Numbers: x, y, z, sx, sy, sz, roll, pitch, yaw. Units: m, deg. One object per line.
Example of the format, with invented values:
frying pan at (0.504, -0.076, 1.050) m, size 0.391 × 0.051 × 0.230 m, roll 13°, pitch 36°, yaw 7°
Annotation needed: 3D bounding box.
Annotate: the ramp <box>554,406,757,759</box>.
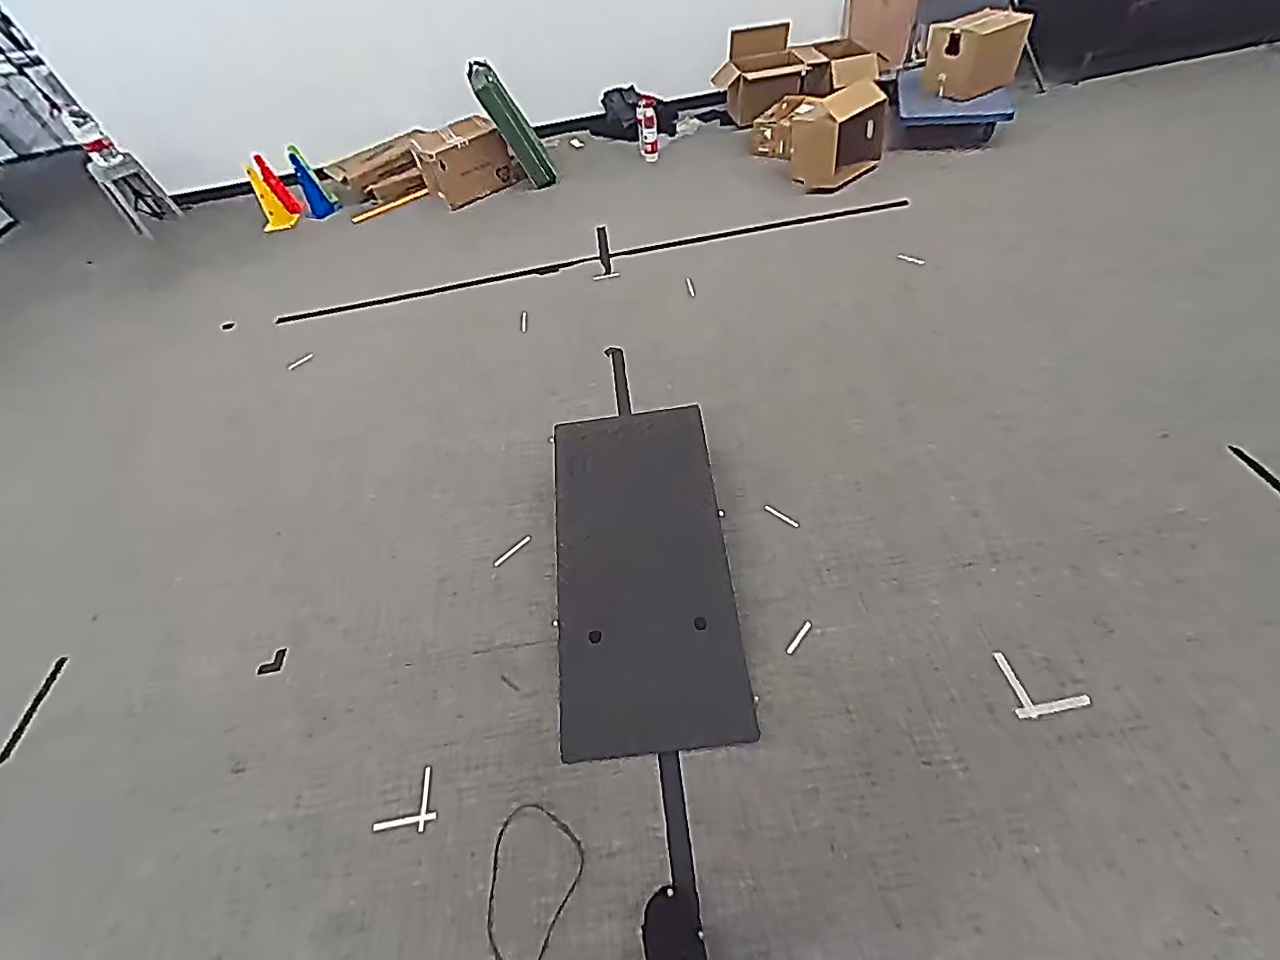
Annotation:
ramp at (0.001, 0.223, 1.559) m, size 0.509 × 0.206 × 0.991 m, roll -8°, pitch 51°, yaw 1°
